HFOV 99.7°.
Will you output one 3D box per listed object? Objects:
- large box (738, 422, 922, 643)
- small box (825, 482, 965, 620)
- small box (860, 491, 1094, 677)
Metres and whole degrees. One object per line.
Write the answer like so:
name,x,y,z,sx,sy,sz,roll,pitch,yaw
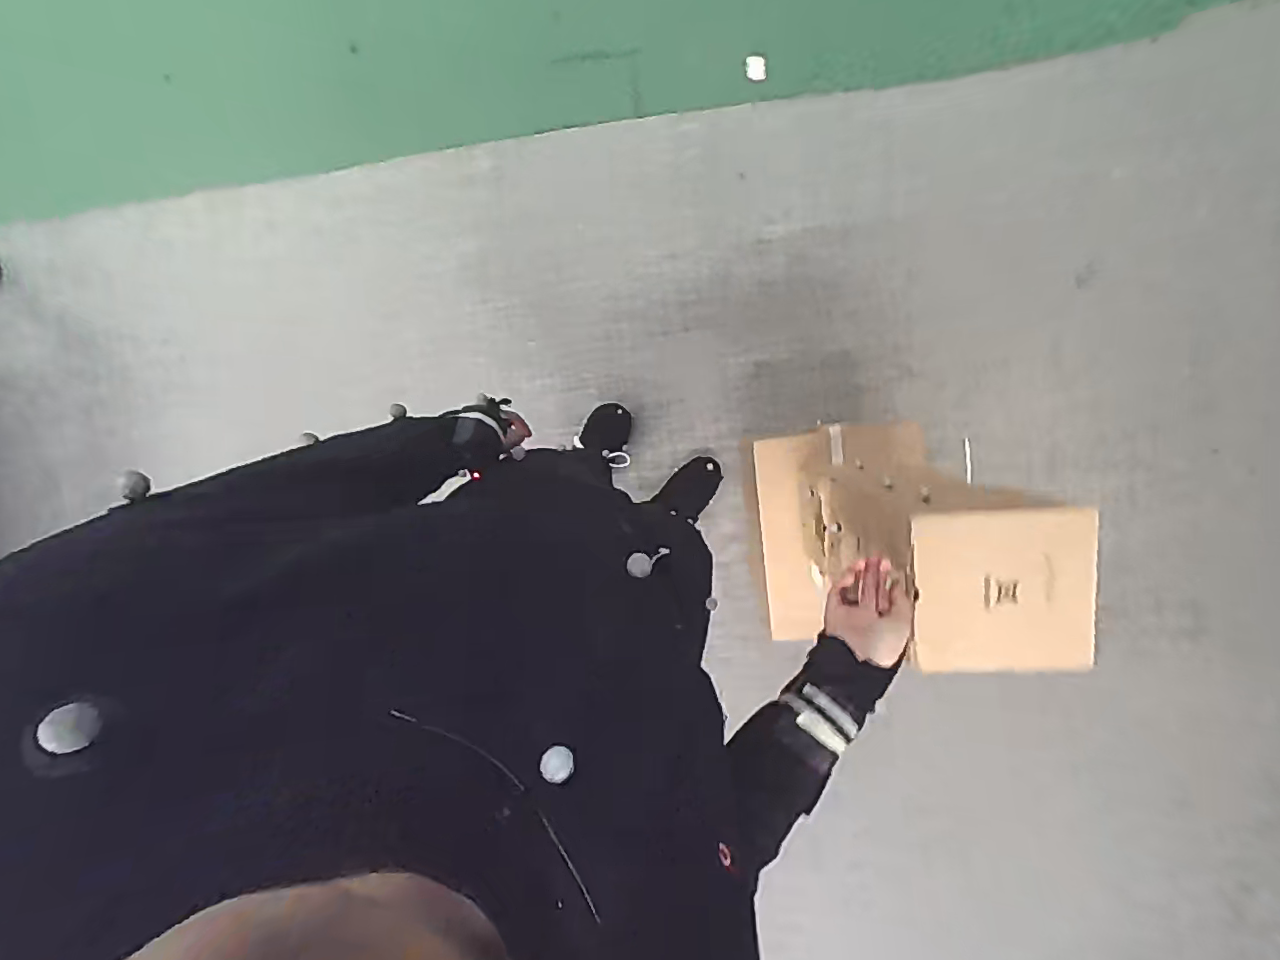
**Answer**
large box,0.401,0.094,1.185,0.320,0.320,0.408,-6,97,7
small box,0.378,0.093,0.776,0.179,0.176,0.168,-1,97,5
small box,0.361,0.107,0.615,0.179,0.176,0.168,-3,98,5
